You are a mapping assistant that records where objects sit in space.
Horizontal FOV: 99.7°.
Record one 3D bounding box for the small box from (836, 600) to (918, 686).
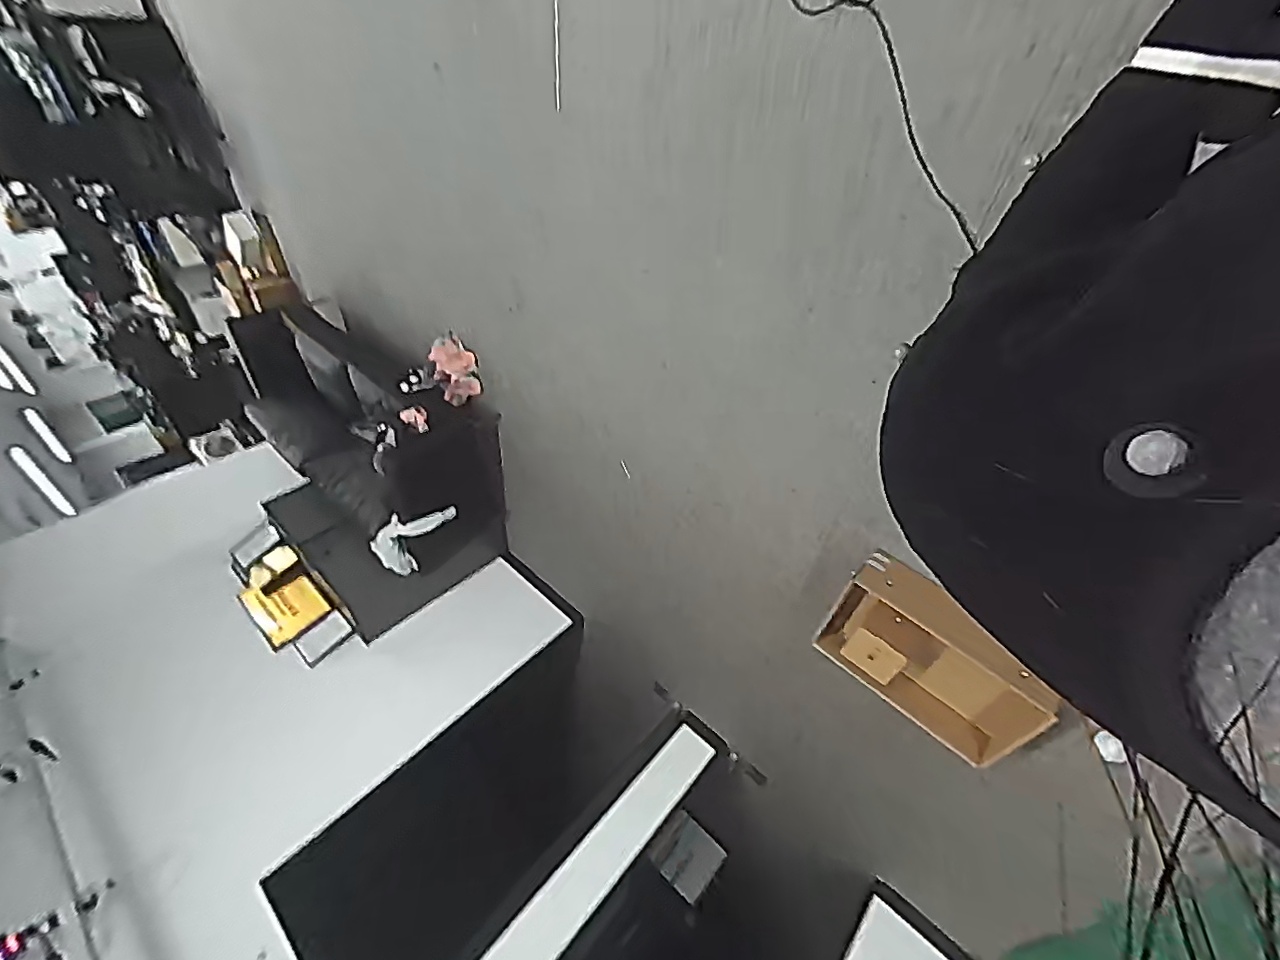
[{"bbox_3d":[0.785,0.534,1.783,0.168,0.176,0.179,35,137,25],"label":"small box"}]
